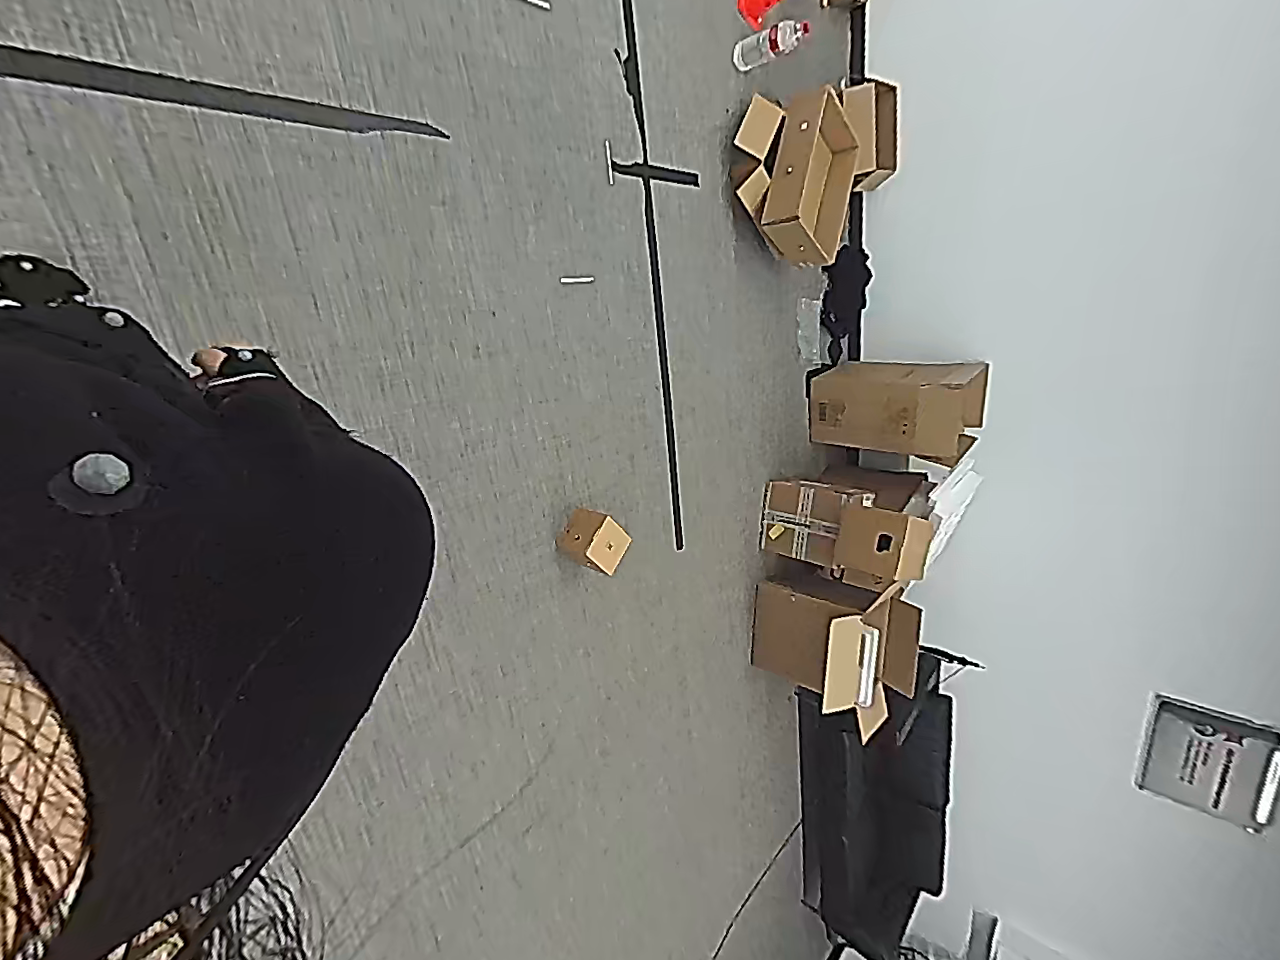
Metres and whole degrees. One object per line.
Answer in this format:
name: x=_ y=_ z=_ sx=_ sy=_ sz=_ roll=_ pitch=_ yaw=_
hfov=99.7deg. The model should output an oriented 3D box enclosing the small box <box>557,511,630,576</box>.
small box: x=-0.177 y=0.231 z=2.018 sx=0.168 sy=0.176 sz=0.179 roll=-59 pitch=135 yaw=-20
